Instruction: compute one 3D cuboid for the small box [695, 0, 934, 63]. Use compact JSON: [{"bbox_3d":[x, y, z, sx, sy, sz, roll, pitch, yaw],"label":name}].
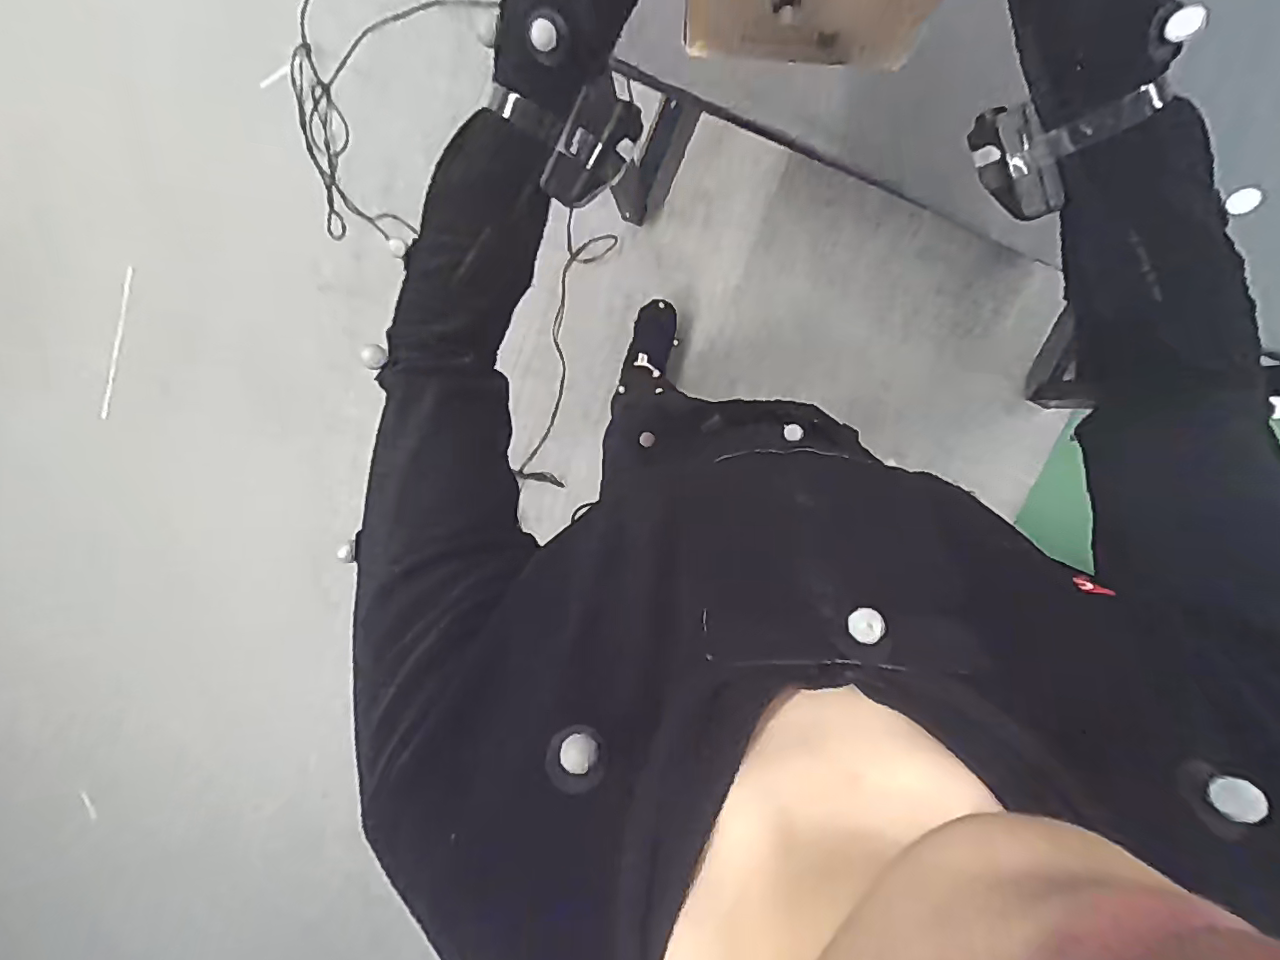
[{"bbox_3d":[0.124,-0.406,0.328,0.168,0.176,0.179,8,96,4],"label":"small box"}]
